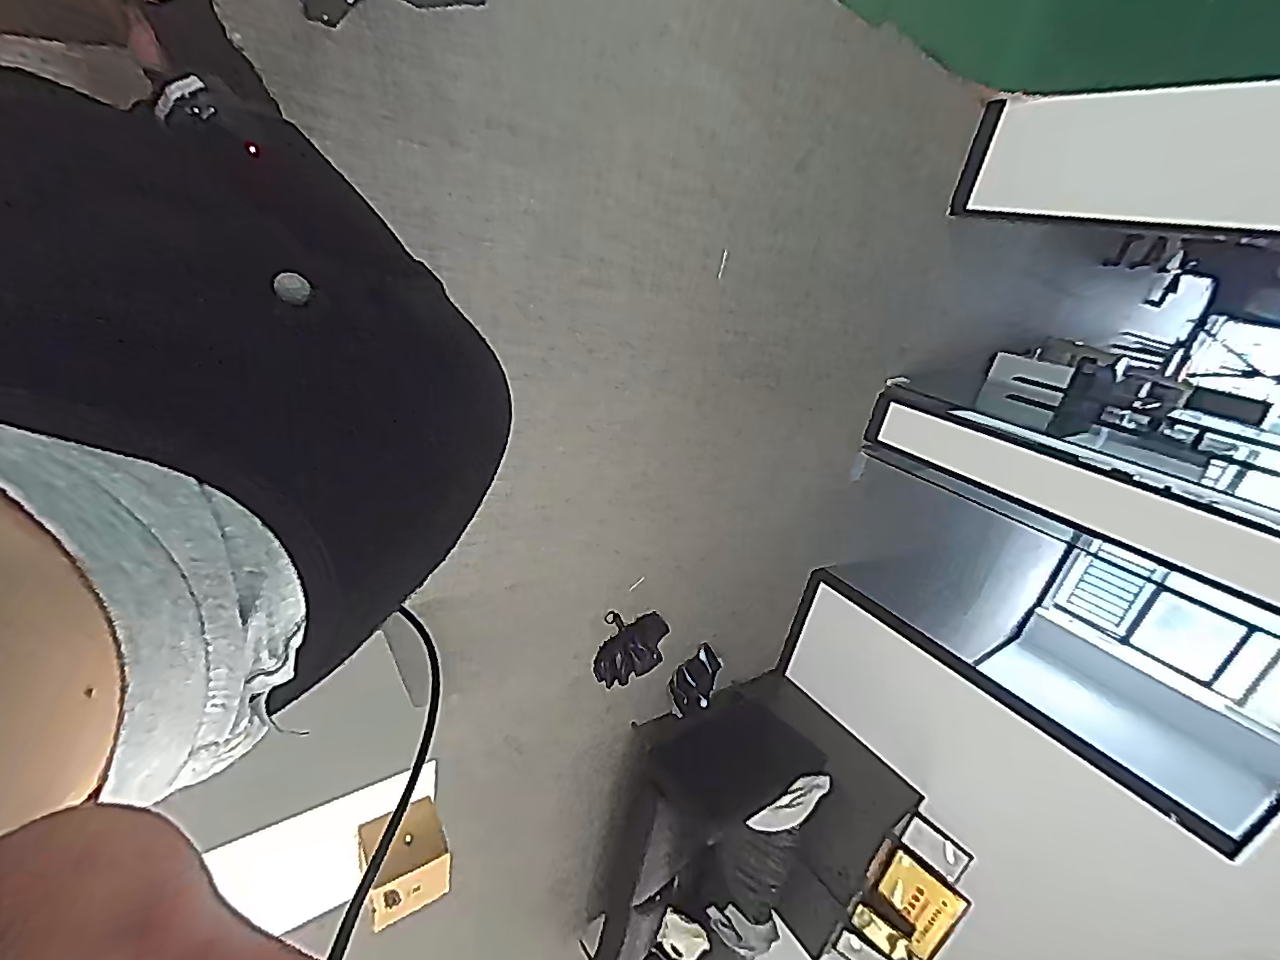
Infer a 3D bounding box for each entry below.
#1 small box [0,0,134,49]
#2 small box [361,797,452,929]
[{"bbox_3d":[-0.447,-0.384,0.310,0.179,0.176,0.168,-15,113,-28],"label":"small box"},{"bbox_3d":[-0.582,0.938,1.339,0.179,0.176,0.168,-9,121,-37],"label":"small box"}]
